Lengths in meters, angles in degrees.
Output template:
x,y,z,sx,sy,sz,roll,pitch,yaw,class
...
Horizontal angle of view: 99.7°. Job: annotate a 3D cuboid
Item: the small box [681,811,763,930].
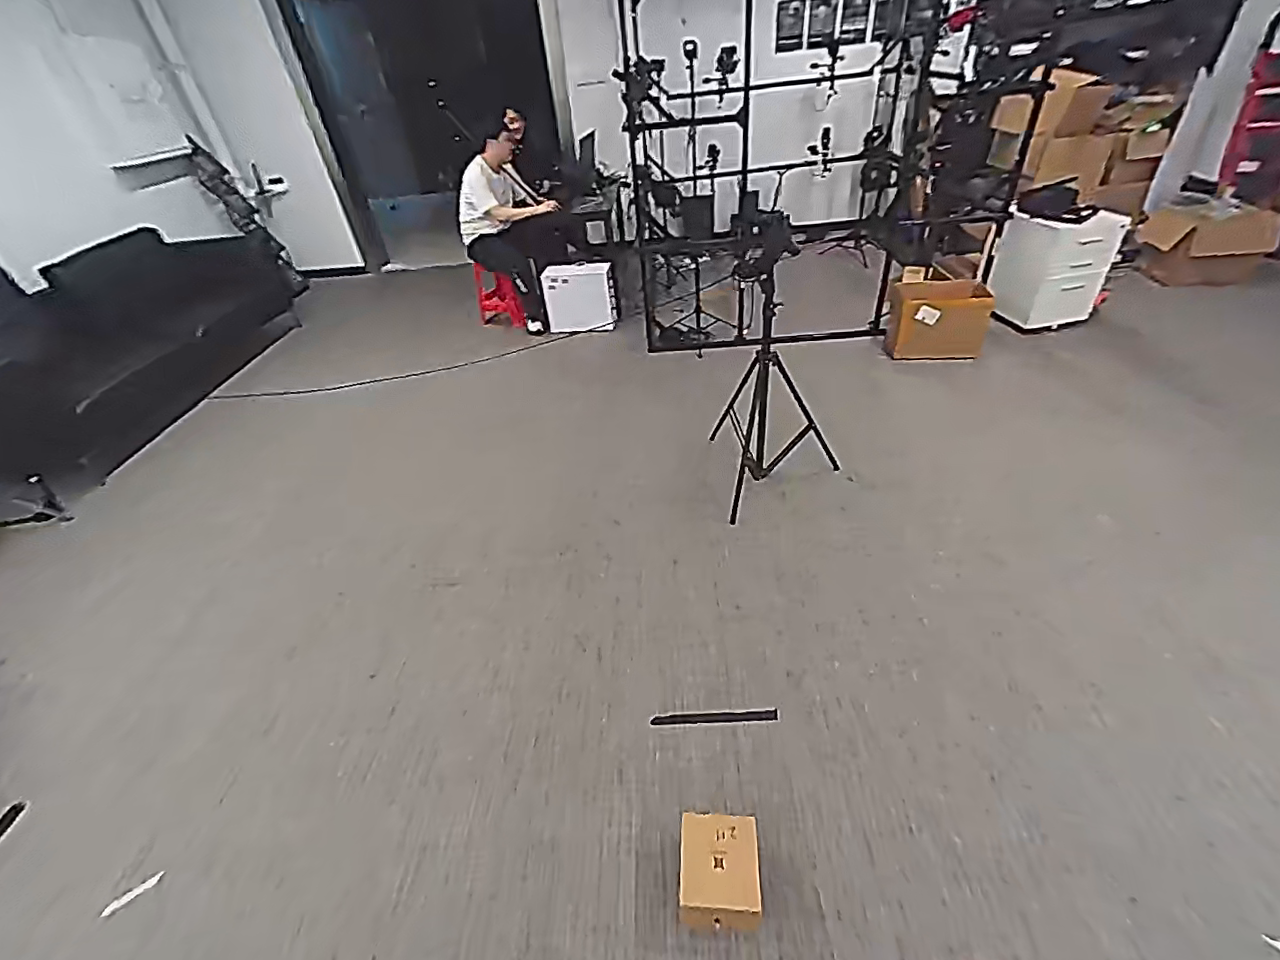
x,y,z,sx,sy,sz,roll,pitch,yaw,class
0.180,0.864,1.195,0.168,0.176,0.179,-1,38,7,small box
